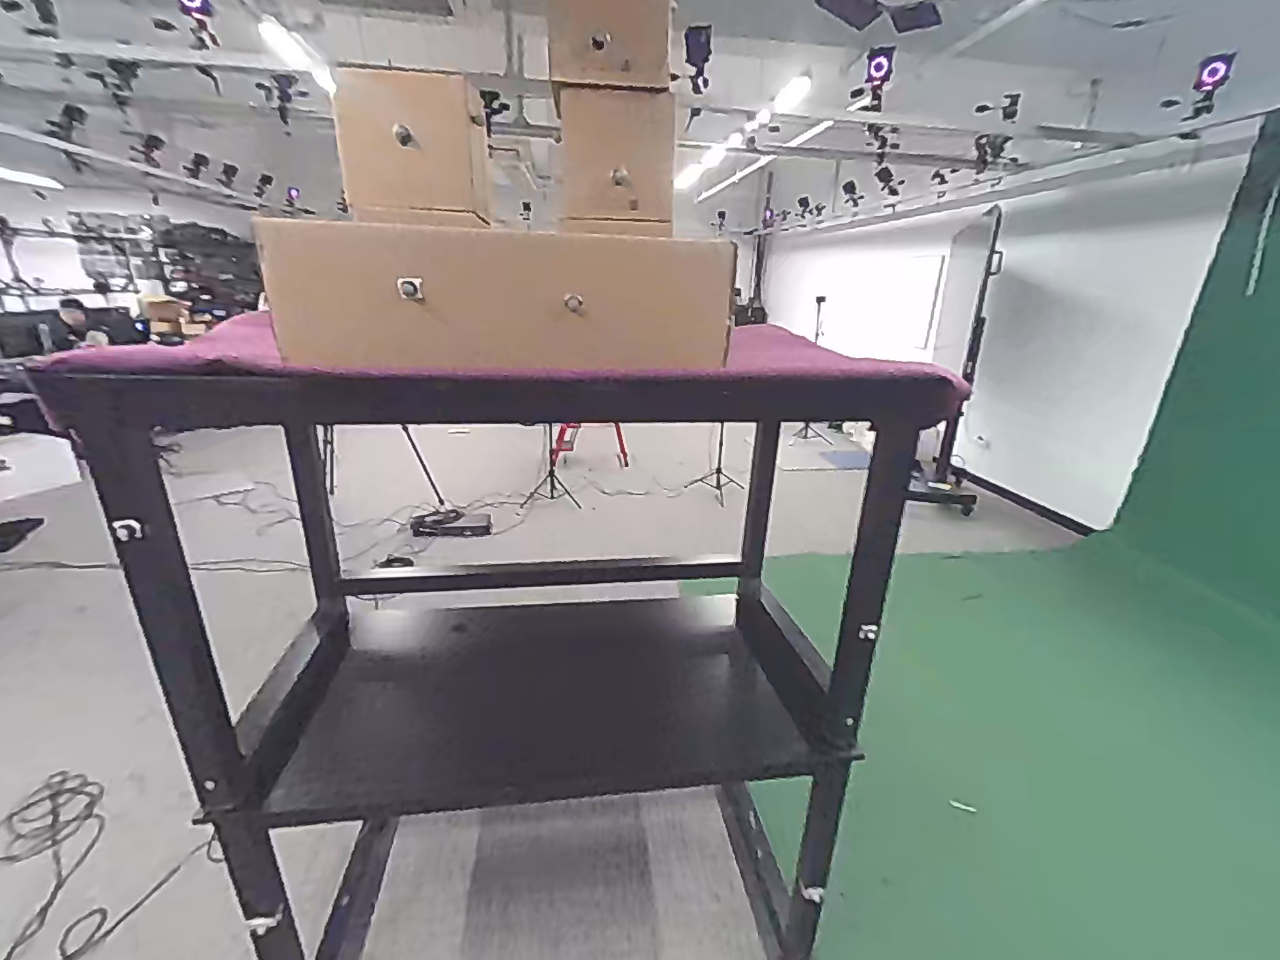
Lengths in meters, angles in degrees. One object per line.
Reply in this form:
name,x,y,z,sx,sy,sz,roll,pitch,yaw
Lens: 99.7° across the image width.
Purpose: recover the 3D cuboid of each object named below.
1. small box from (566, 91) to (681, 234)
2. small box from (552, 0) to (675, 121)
small box,-0.031,-0.489,0.861,0.168,0.176,0.179,-2,20,-5
small box,-0.042,-0.641,0.802,0.168,0.176,0.179,-1,20,-5
